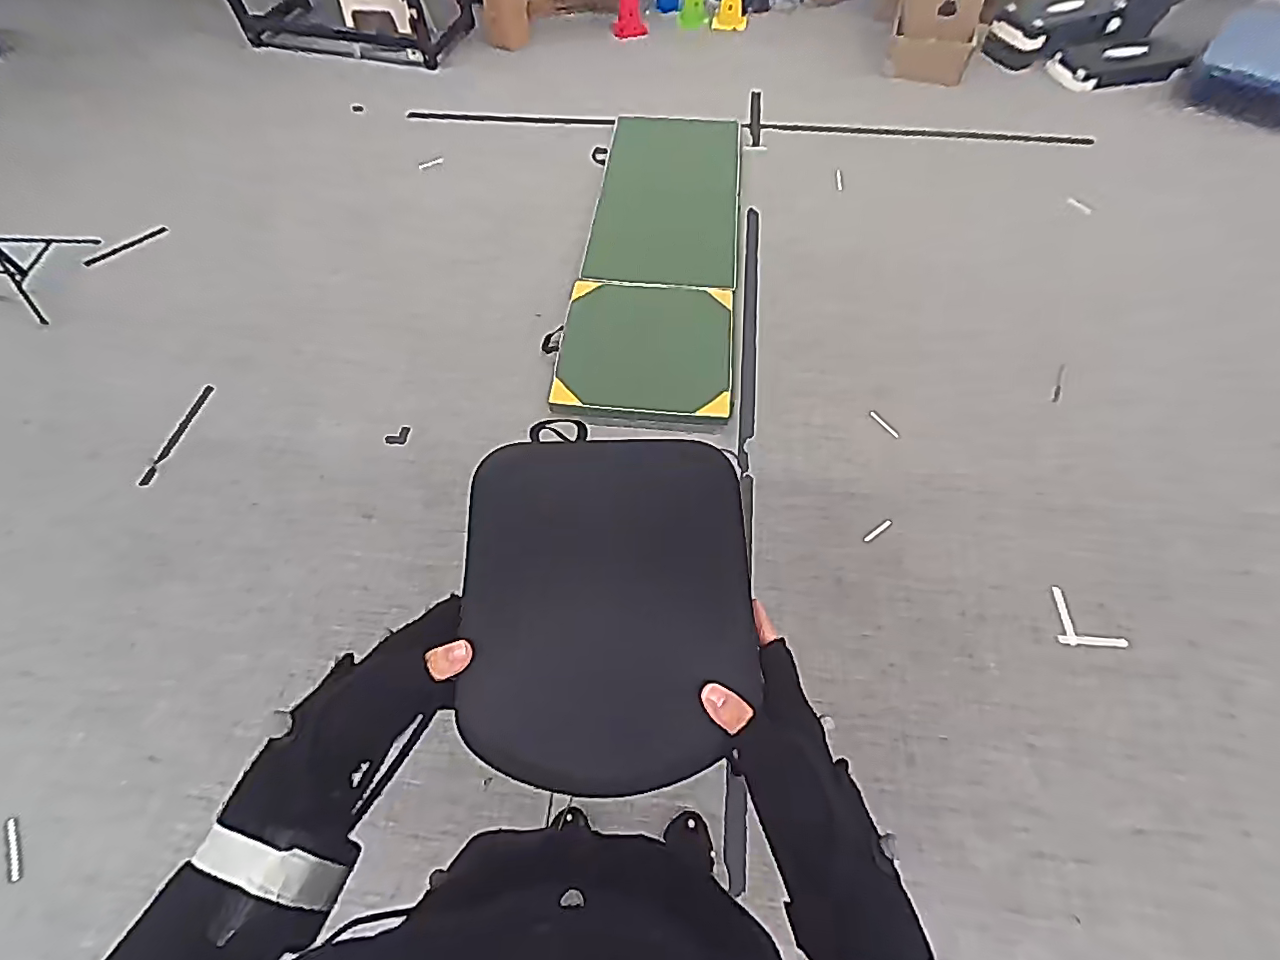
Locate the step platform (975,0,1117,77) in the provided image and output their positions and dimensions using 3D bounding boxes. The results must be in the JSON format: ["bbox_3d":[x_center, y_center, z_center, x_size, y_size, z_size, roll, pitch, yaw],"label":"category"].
[{"bbox_3d":[2.229,-2.442,2.969,0.684,0.204,0.286,-21,62,-11],"label":"step platform"}]
